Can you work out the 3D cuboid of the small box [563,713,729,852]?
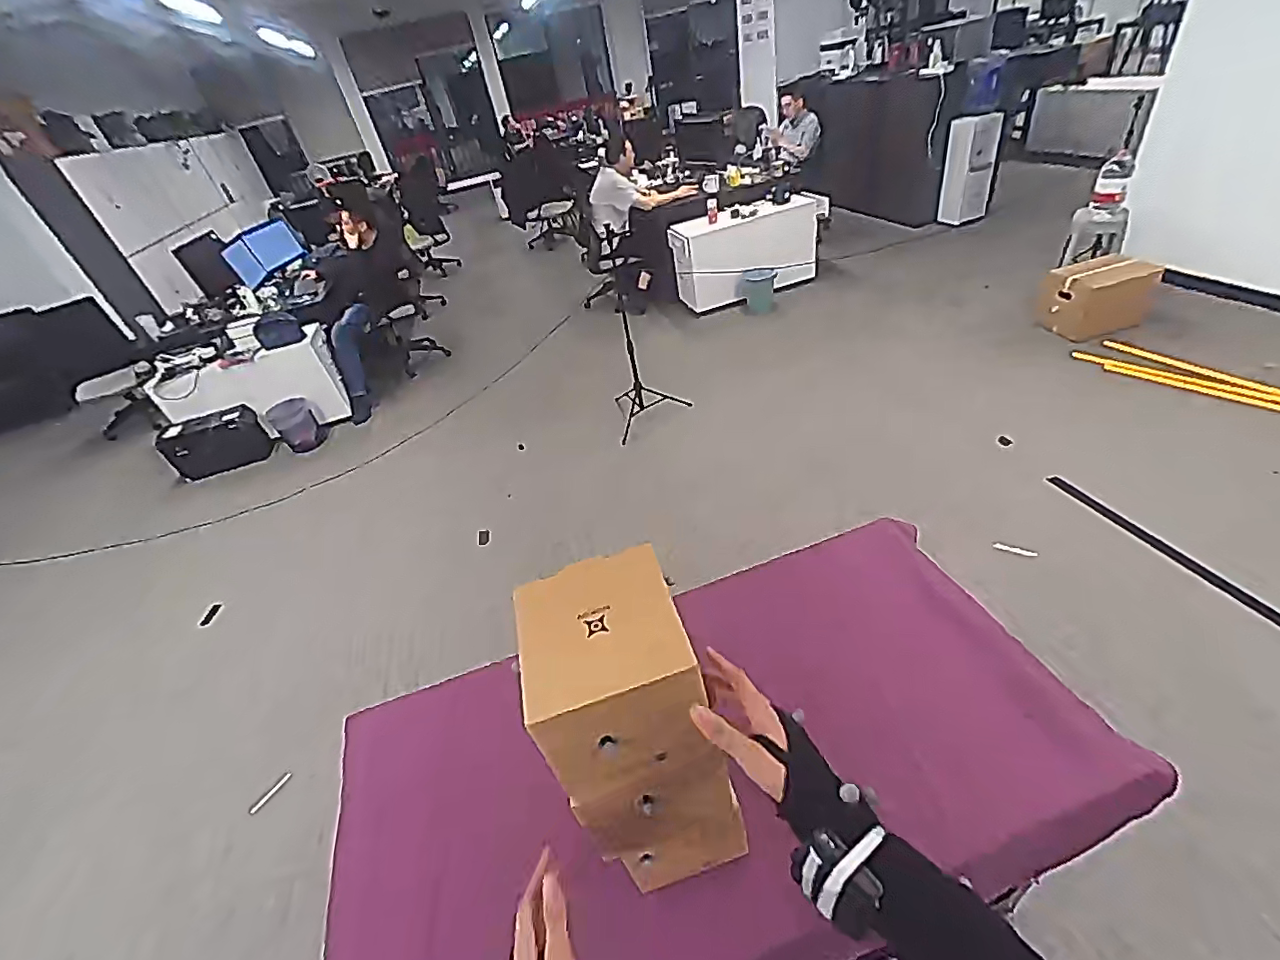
[{"bbox_3d":[0.001,0.339,0.694,0.179,0.176,0.168,-17,38,-5],"label":"small box"}]

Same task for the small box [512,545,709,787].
[{"bbox_3d":[-0.032,0.209,0.601,0.168,0.176,0.179,-18,36,-5],"label":"small box"}]
